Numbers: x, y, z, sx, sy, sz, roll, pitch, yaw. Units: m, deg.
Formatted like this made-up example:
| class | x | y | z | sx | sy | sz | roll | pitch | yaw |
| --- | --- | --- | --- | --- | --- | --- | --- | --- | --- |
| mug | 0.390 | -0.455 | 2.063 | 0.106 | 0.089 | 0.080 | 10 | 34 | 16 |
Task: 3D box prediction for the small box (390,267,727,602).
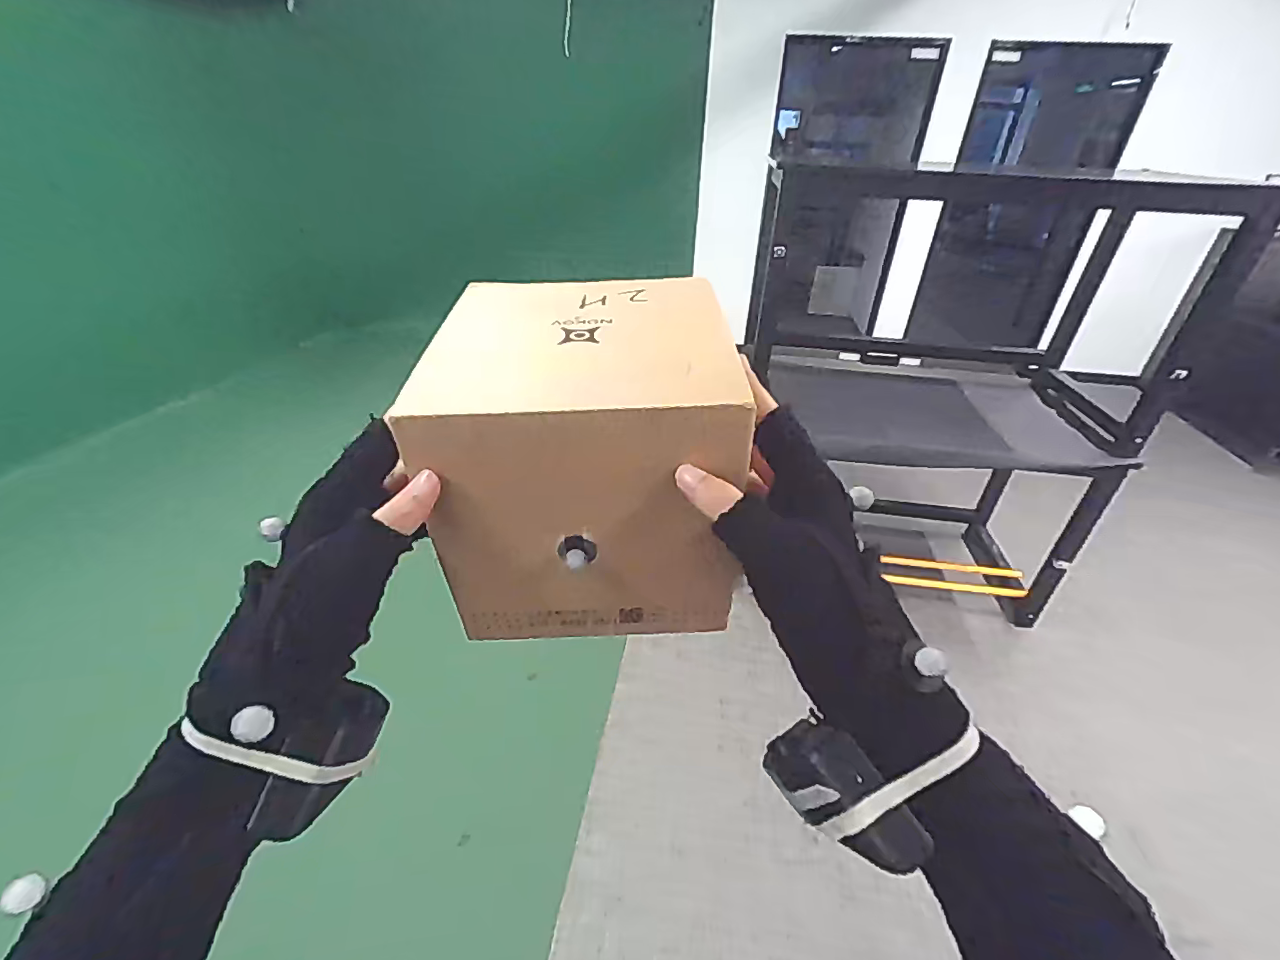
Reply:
| class | x | y | z | sx | sy | sz | roll | pitch | yaw |
| --- | --- | --- | --- | --- | --- | --- | --- | --- | --- |
| small box | -0.037 | -0.031 | 0.368 | 0.168 | 0.176 | 0.179 | -2 | 37 | 0 |
